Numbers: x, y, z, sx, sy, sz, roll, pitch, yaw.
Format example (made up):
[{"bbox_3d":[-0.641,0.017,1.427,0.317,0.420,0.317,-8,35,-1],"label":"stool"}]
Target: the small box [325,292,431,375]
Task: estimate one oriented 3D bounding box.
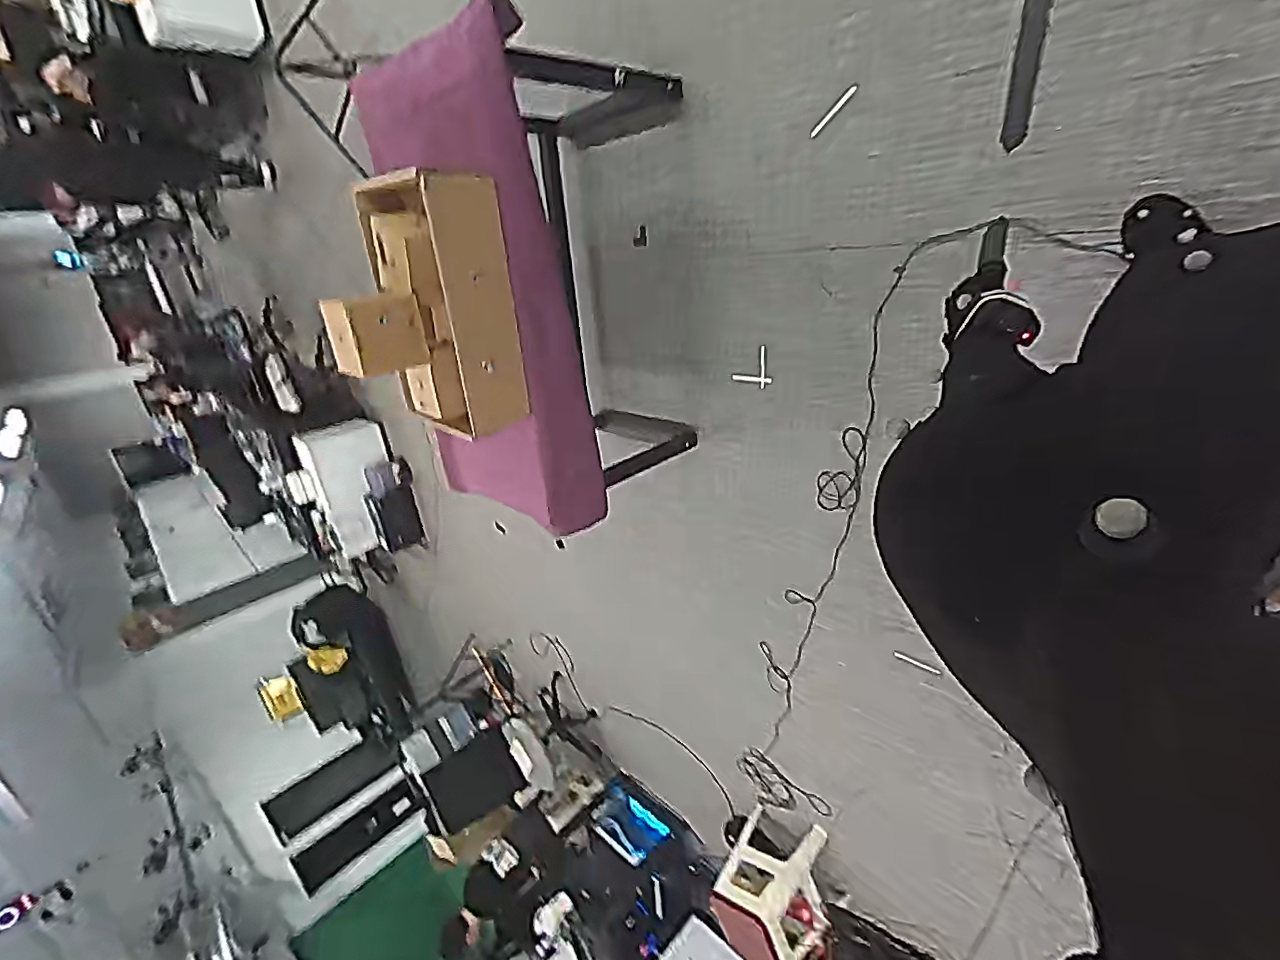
[{"bbox_3d":[-0.626,-0.360,1.309,0.179,0.176,0.168,19,123,43],"label":"small box"}]
